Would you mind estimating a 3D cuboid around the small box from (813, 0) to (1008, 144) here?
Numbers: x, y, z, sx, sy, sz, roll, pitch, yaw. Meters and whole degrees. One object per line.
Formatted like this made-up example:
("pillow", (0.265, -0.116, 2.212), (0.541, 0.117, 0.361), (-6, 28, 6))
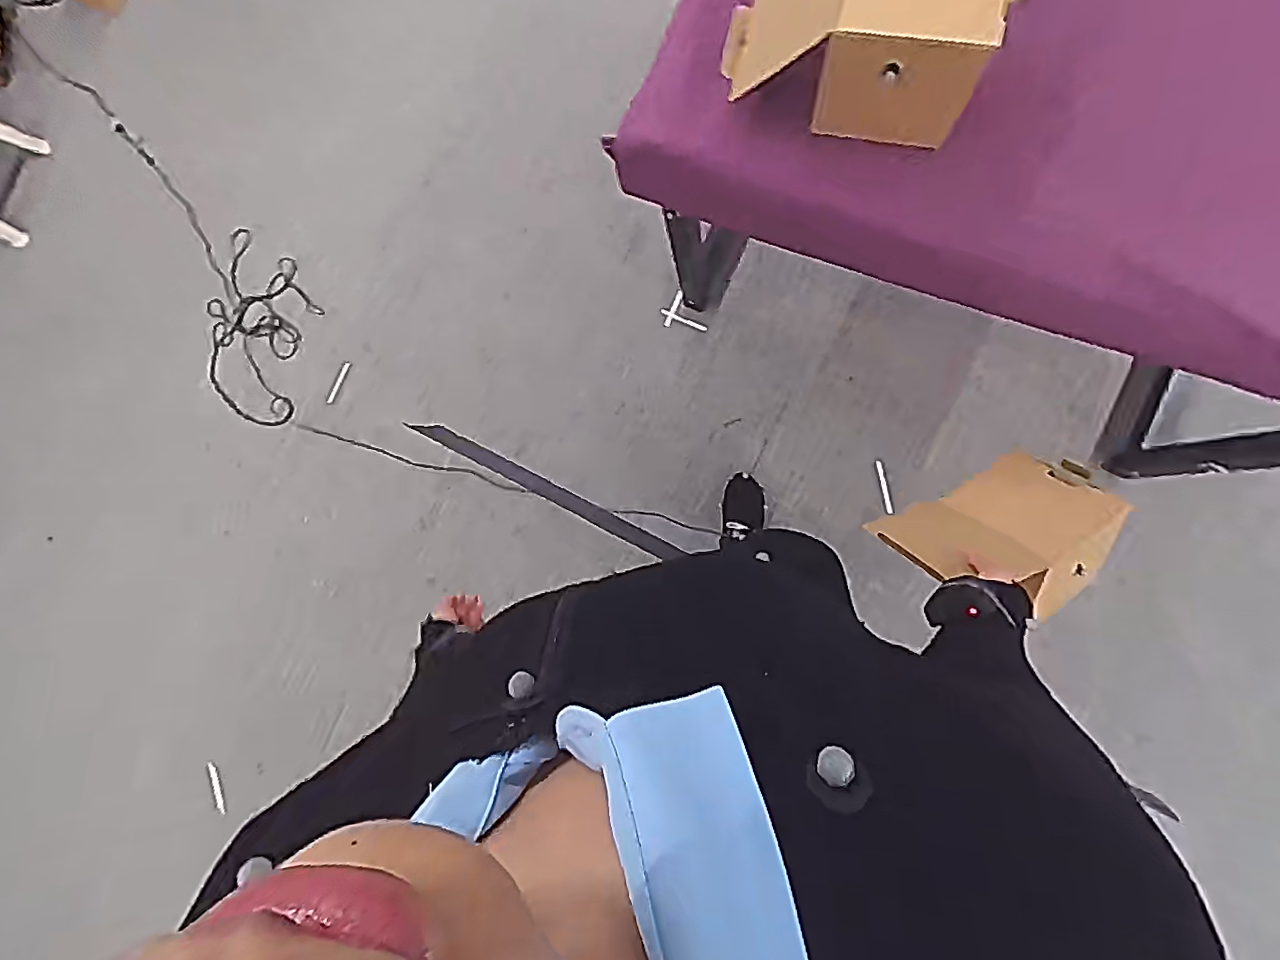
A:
("small box", (0.322, -0.545, 0.656), (0.179, 0.176, 0.168), (14, 90, 10))
